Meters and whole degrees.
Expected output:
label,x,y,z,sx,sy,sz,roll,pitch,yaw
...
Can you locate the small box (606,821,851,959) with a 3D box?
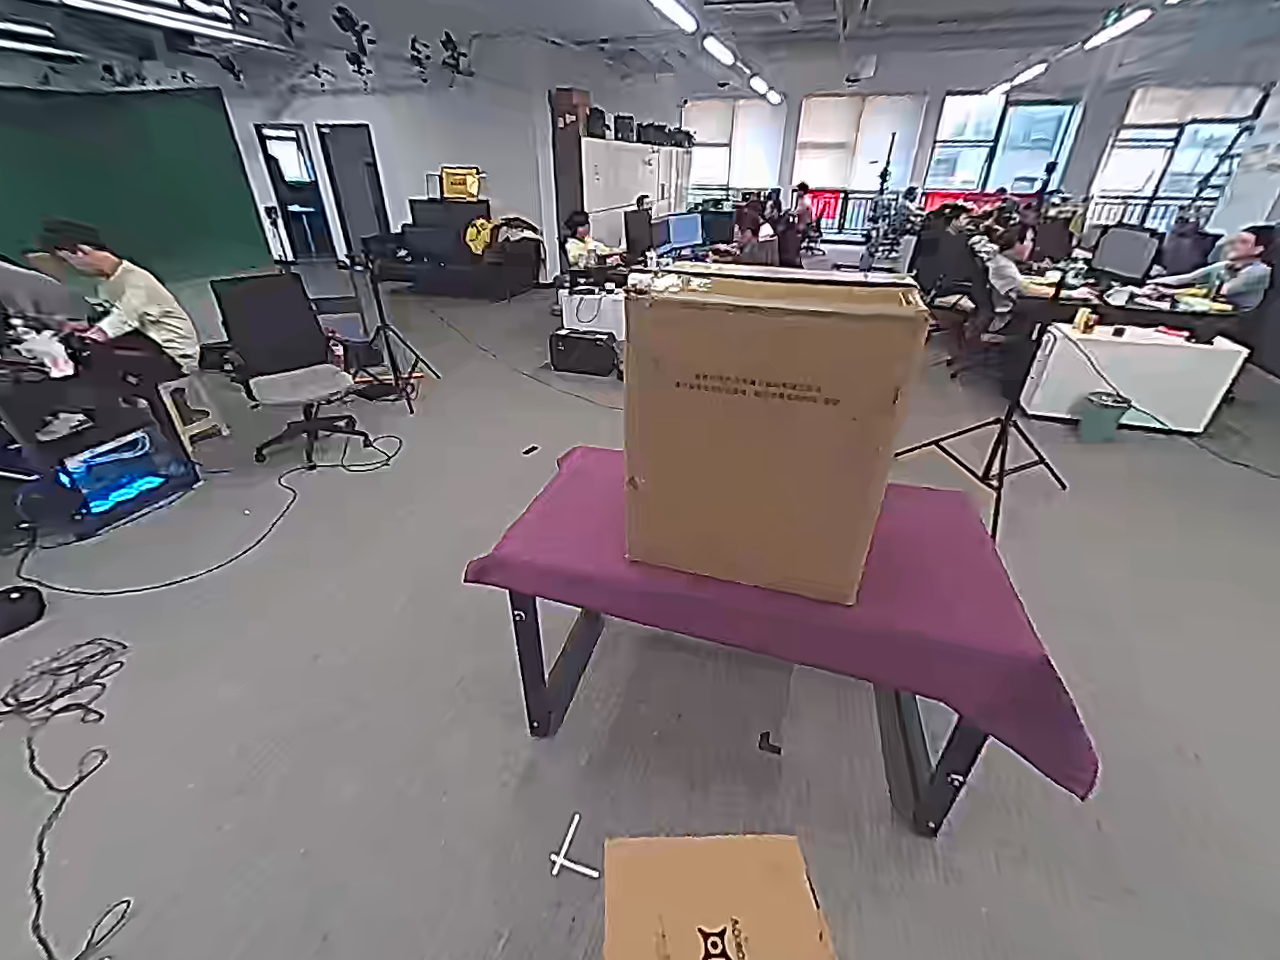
label,x,y,z,sx,sy,sz,roll,pitch,yaw
small box,0.063,0.412,0.437,0.179,0.176,0.168,0,23,-4
